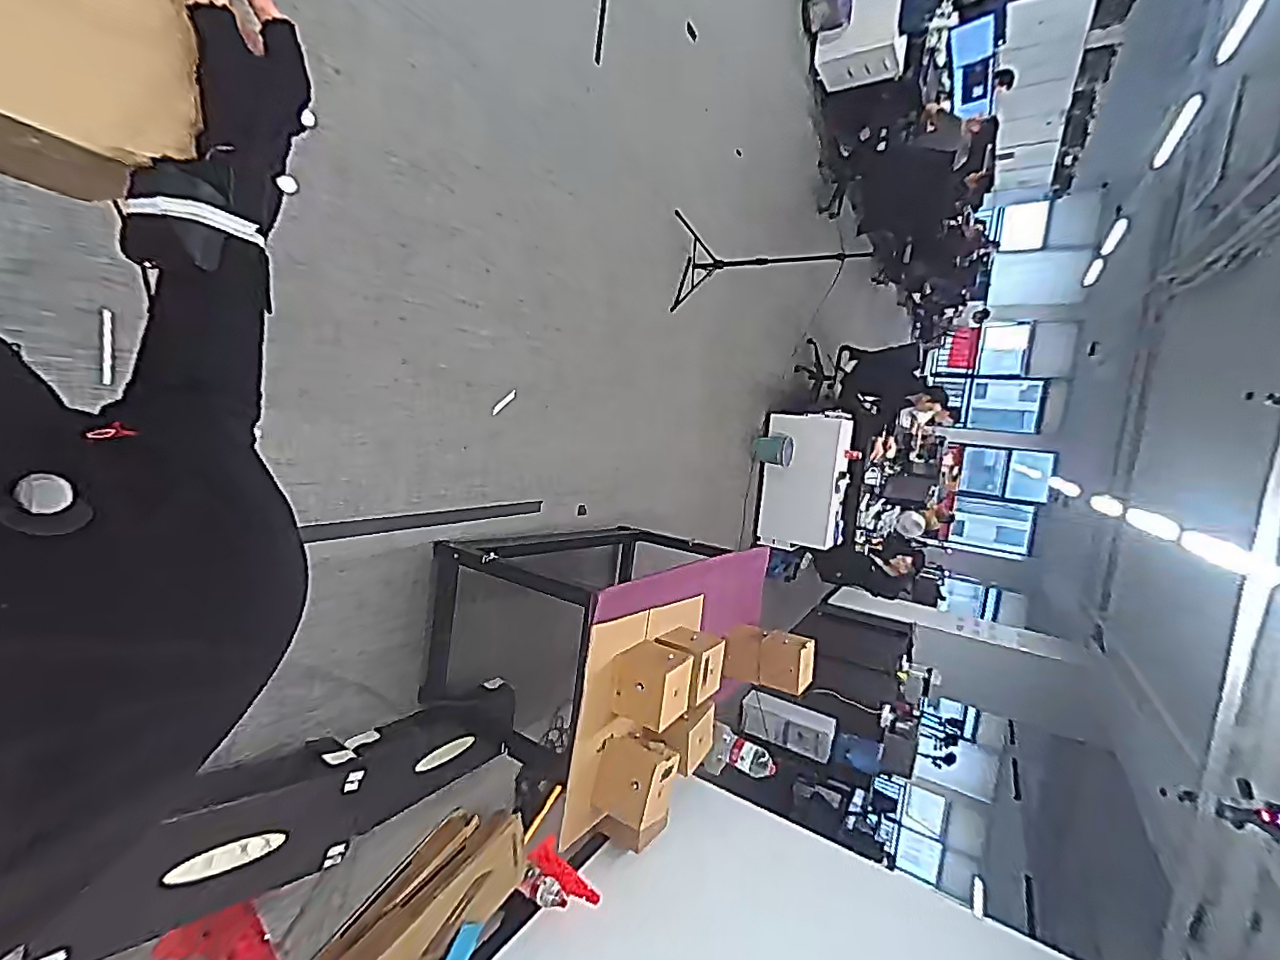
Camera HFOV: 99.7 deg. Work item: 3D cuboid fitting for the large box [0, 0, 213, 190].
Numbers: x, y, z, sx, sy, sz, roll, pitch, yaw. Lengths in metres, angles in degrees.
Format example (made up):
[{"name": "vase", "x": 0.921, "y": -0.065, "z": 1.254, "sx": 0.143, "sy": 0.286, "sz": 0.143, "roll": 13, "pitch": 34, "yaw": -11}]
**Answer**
[{"name": "large box", "x": -0.547, "y": -0.423, "z": 0.317, "sx": 0.408, "sy": 0.320, "sz": 0.320, "roll": 5, "pitch": 101, "yaw": -58}]
